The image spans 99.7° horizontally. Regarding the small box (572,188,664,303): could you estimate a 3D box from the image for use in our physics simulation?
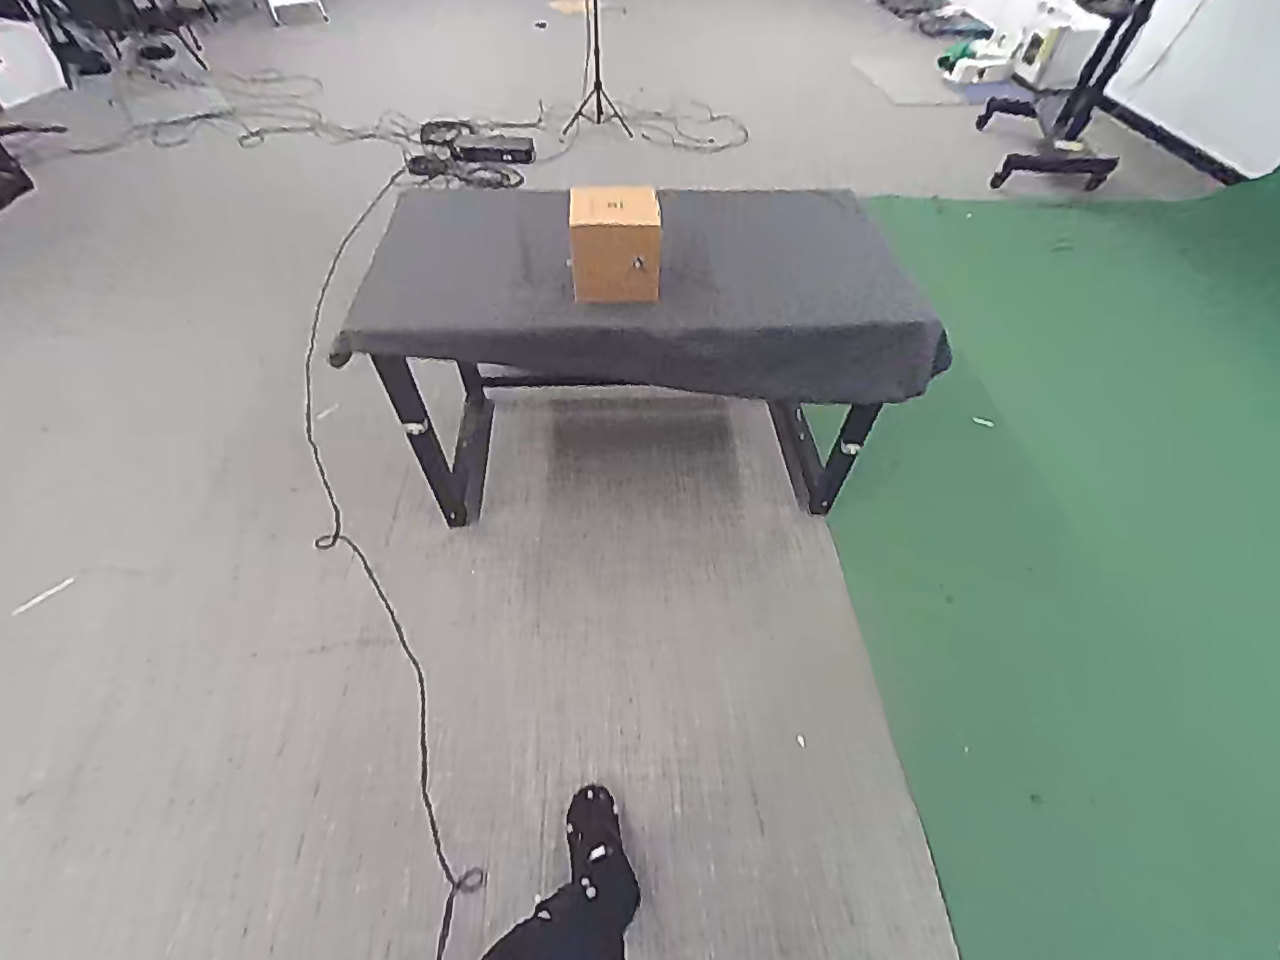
[{"bbox_3d":[-0.047,-0.487,1.129,0.179,0.176,0.168,-3,50,-2],"label":"small box"}]
